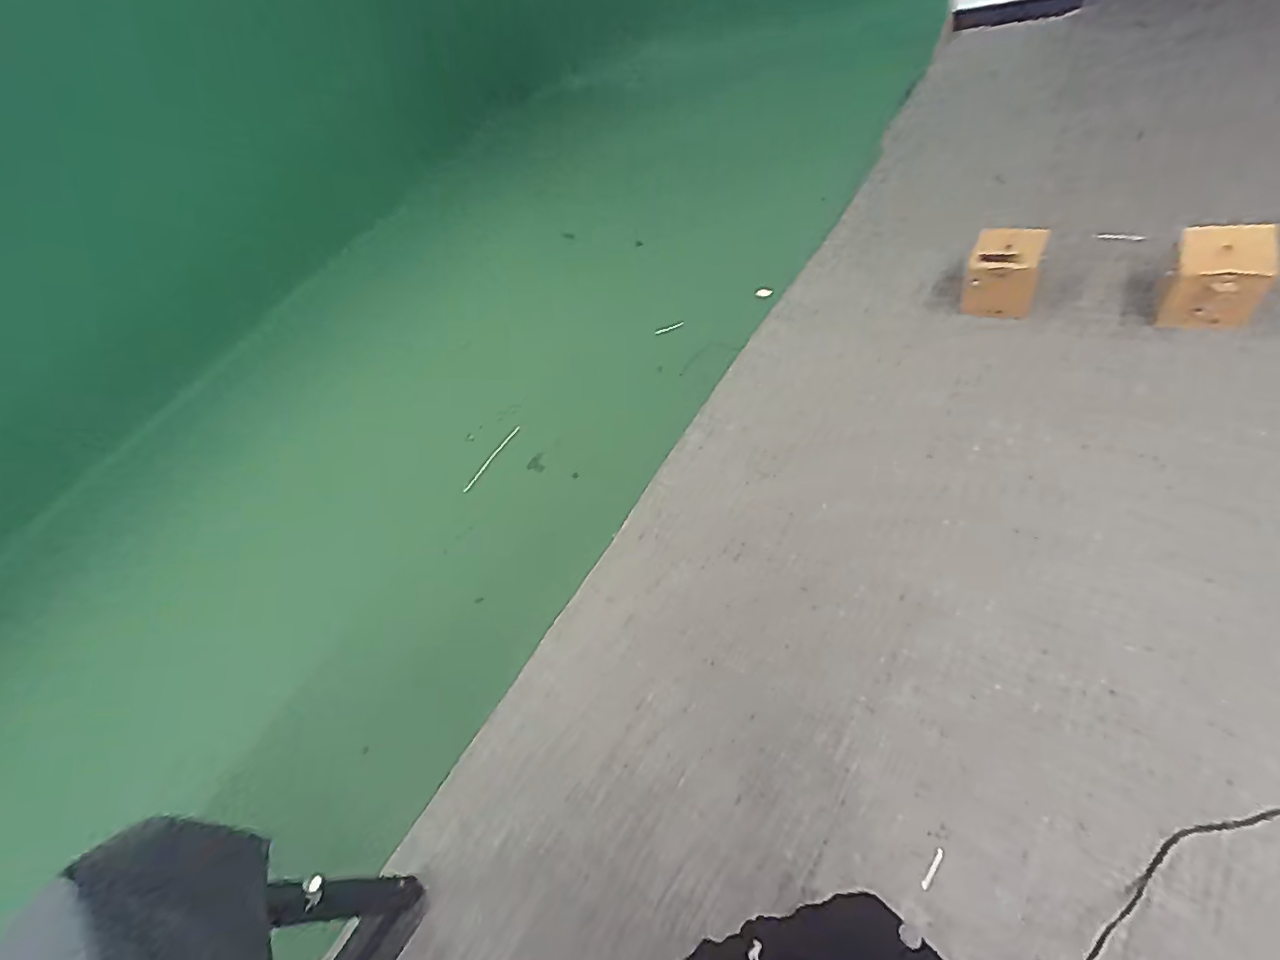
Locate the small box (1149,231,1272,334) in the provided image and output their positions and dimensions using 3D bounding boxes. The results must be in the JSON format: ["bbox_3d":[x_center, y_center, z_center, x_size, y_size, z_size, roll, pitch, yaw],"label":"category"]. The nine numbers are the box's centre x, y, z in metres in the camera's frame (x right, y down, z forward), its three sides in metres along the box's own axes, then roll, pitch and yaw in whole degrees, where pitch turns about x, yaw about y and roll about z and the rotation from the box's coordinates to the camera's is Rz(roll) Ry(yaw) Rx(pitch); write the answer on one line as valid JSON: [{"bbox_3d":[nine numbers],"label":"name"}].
[{"bbox_3d":[1.401,-0.488,1.339,0.168,0.176,0.179,12,63,30],"label":"small box"}]
